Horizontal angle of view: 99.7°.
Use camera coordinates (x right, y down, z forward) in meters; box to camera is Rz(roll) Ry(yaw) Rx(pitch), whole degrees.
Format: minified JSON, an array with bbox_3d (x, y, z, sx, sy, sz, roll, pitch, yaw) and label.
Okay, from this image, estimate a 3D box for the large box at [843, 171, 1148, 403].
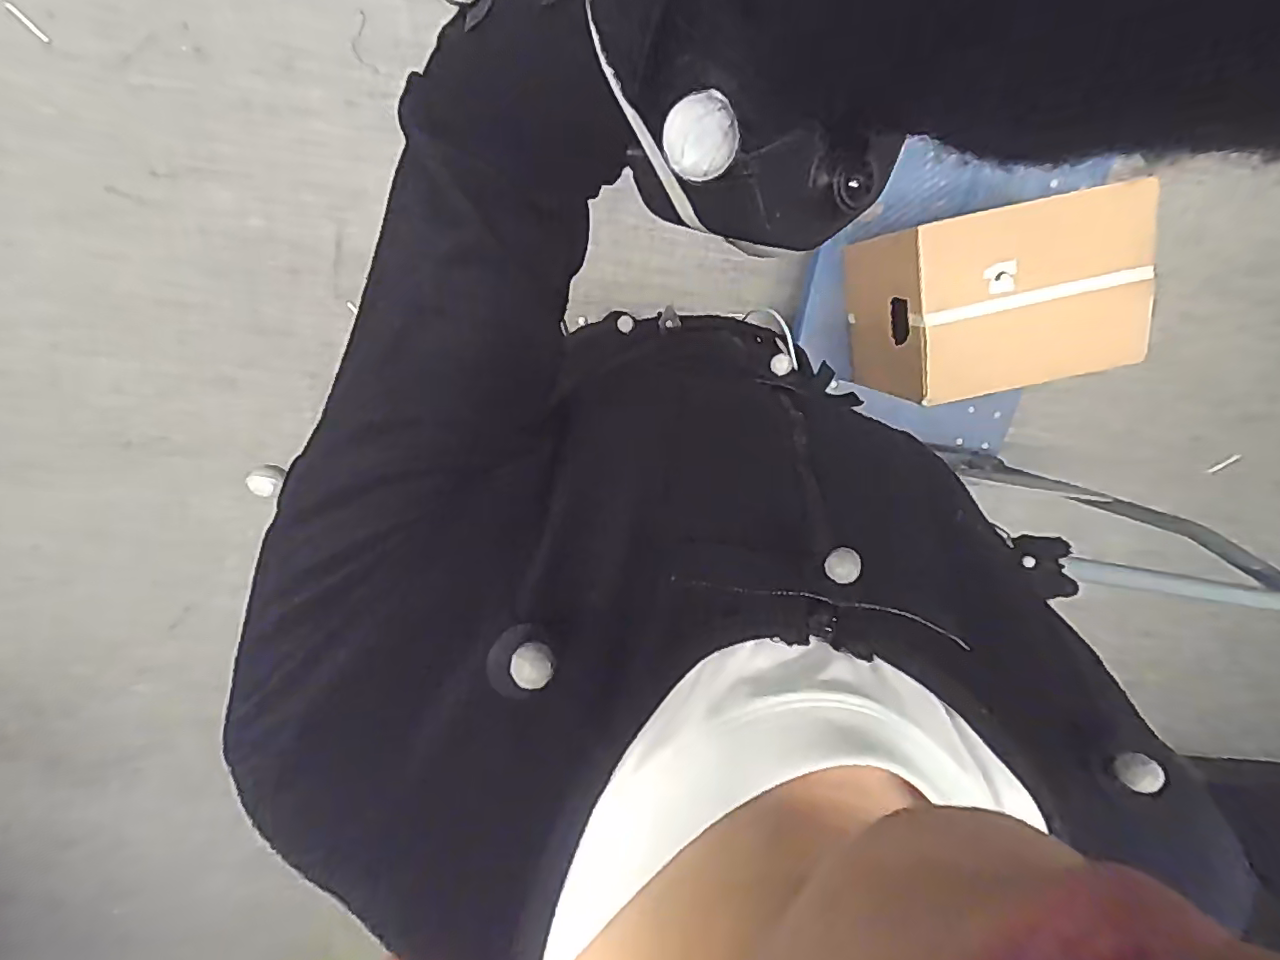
[{"bbox_3d":[0.672,-0.373,1.084,0.408,0.320,0.320,-12,107,2],"label":"large box"}]
